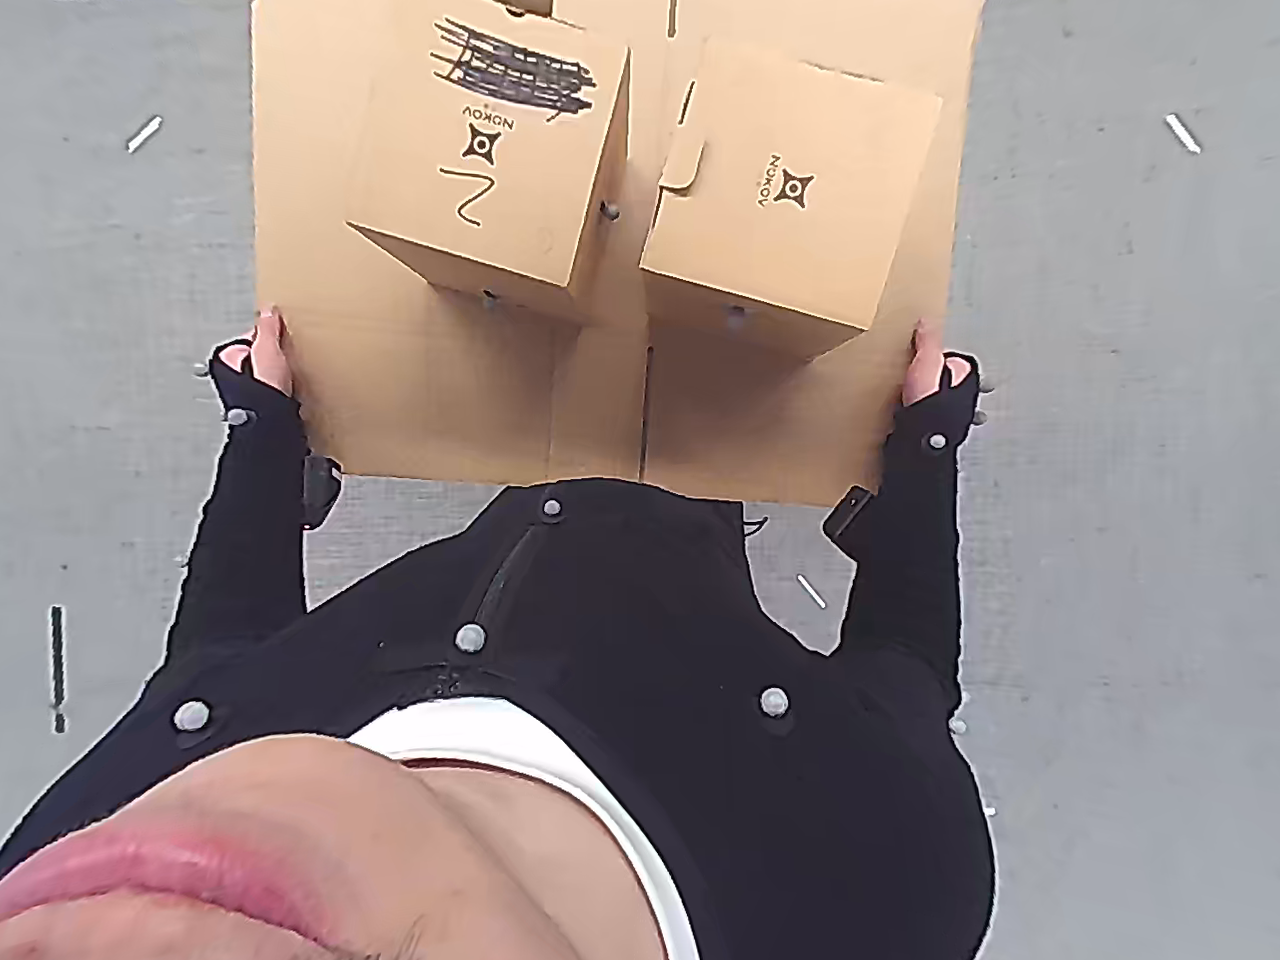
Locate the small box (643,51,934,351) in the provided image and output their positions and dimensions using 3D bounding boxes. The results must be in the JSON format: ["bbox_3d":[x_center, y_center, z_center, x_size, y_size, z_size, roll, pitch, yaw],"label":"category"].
[{"bbox_3d":[0.113,-0.221,0.479,0.179,0.176,0.168,16,96,3],"label":"small box"}]
